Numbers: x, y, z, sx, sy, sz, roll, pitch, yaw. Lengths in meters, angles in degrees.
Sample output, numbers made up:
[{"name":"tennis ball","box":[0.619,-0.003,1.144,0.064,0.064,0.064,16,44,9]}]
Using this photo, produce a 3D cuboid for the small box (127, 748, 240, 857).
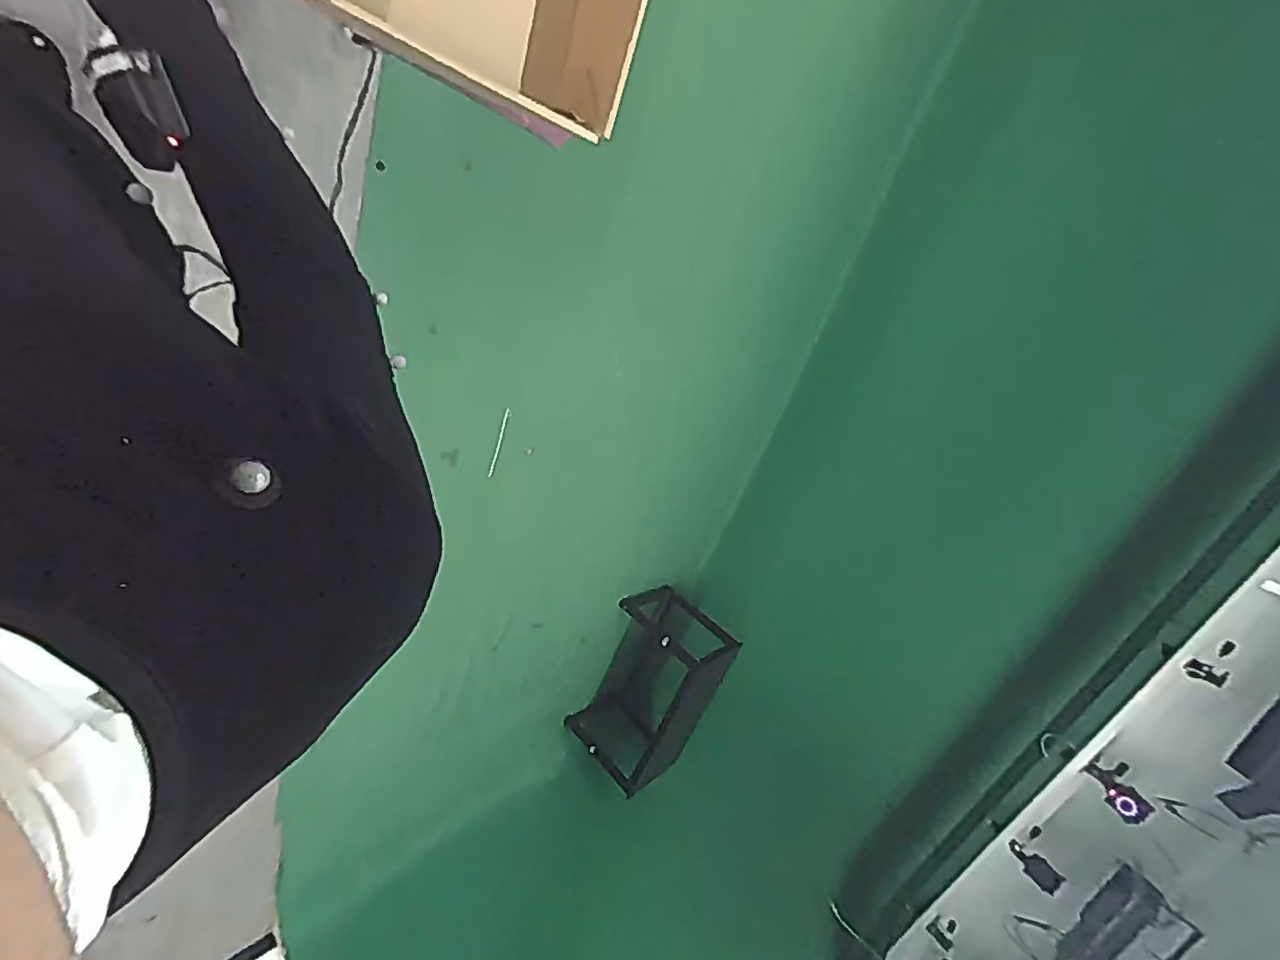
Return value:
[{"name":"small box","box":[-1.271,0.891,1.501,0.179,0.176,0.168,-38,144,-26]}]
